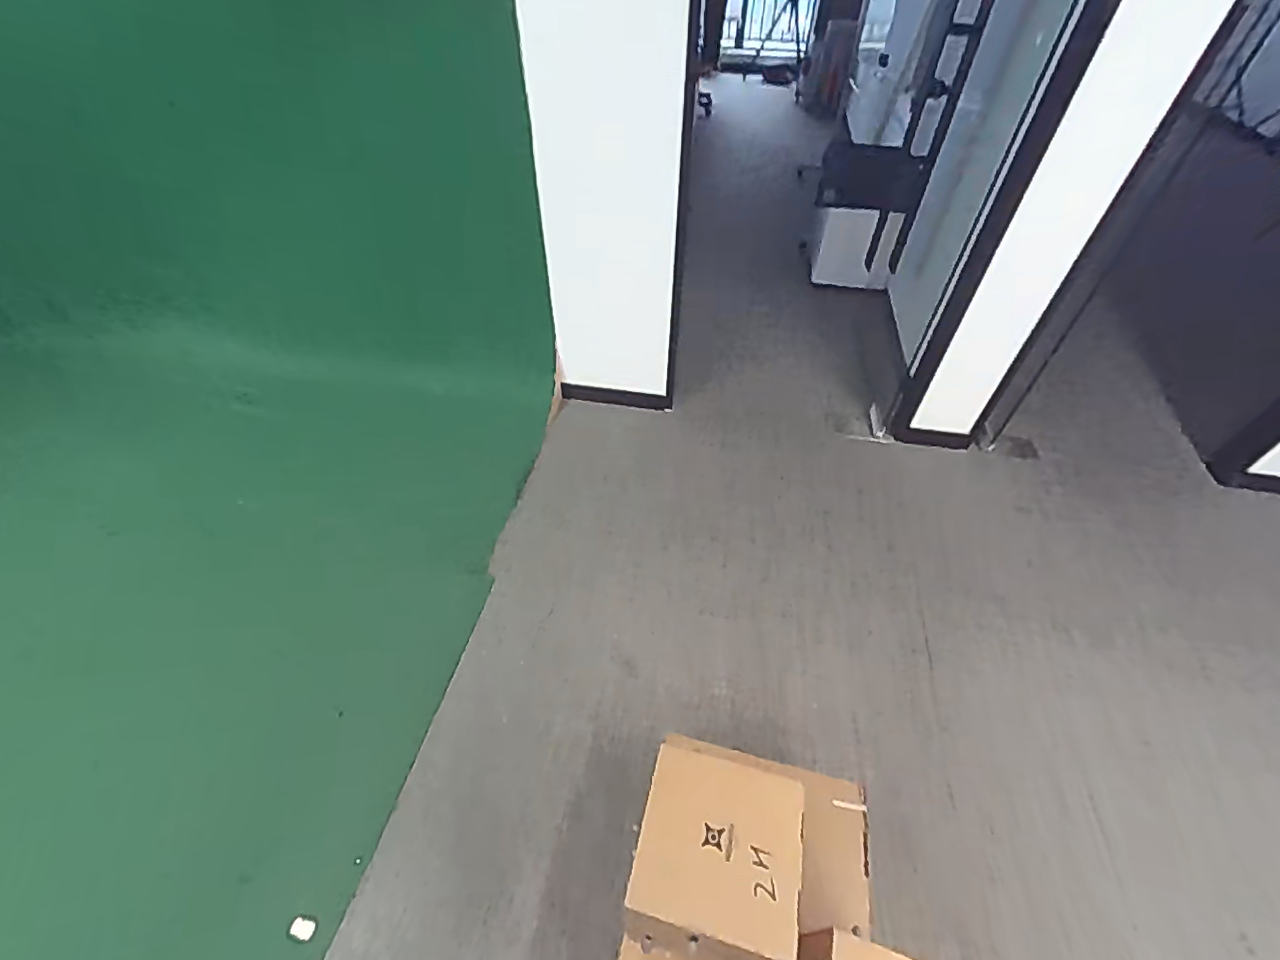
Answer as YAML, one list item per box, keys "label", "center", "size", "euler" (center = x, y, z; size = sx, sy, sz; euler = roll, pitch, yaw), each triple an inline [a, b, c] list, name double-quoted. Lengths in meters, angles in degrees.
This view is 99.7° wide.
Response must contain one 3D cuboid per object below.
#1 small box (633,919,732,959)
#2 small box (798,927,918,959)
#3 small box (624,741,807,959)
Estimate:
- label: "small box"
  center: [0.089, 0.665, 0.887]
  size: [0.168, 0.176, 0.179]
  euler: [13, 46, 12]
- label: "small box"
  center: [0.291, 0.678, 0.653]
  size: [0.179, 0.176, 0.168]
  euler: [15, 47, 12]
- label: "small box"
  center: [0.088, 0.444, 0.641]
  size: [0.179, 0.176, 0.168]
  euler: [12, 47, 11]
